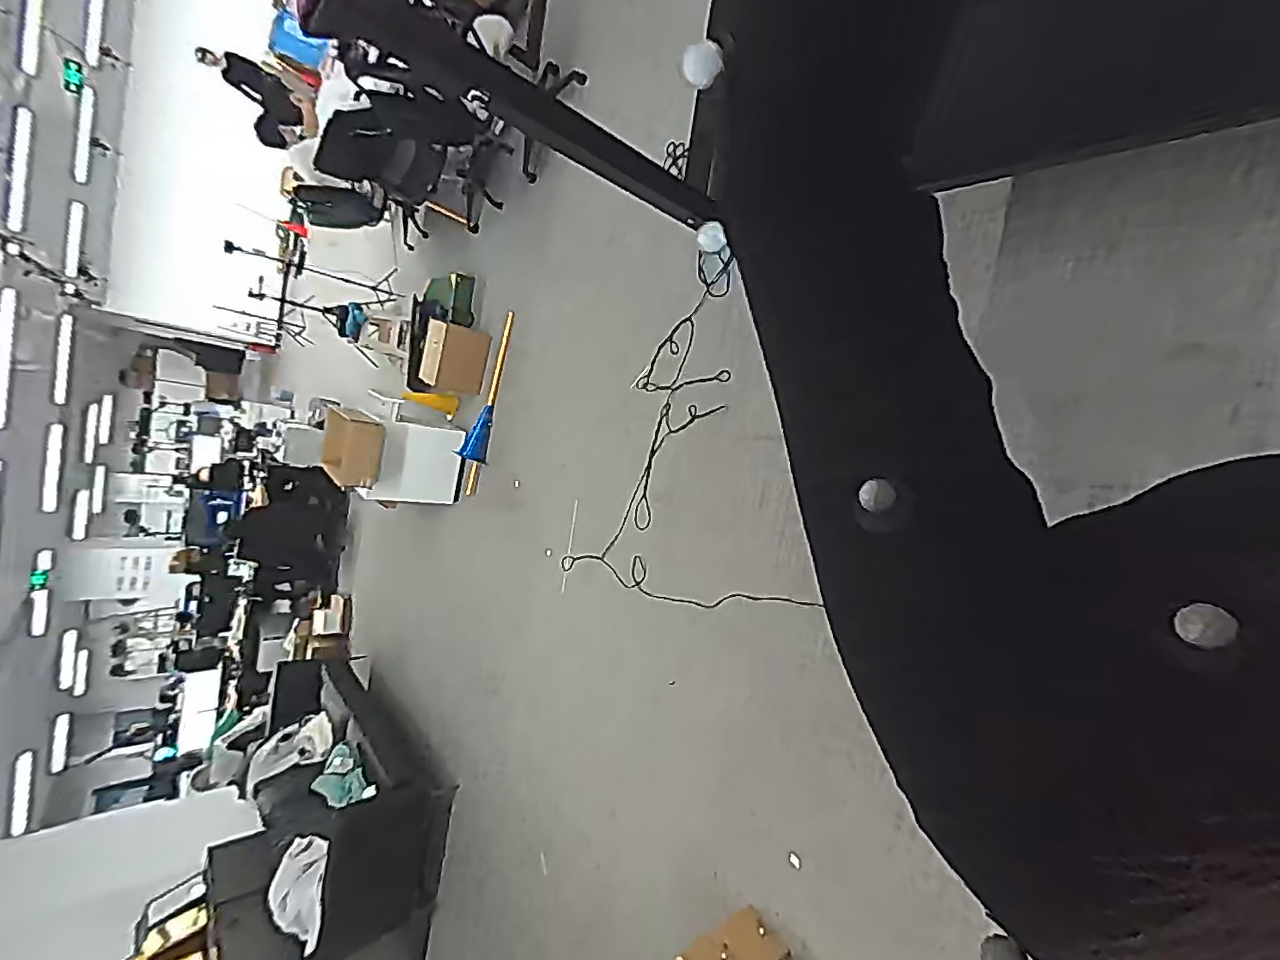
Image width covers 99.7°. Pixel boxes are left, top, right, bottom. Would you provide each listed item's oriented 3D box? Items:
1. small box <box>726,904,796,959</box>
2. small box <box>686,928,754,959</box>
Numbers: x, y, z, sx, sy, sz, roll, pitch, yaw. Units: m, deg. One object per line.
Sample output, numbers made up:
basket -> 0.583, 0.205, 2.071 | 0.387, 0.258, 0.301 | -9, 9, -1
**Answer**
small box -> 0.359, 1.484, 1.679 | 0.168, 0.176, 0.179 | 24, 103, 47
small box -> 0.234, 1.475, 1.572 | 0.168, 0.176, 0.179 | 21, 102, 47
